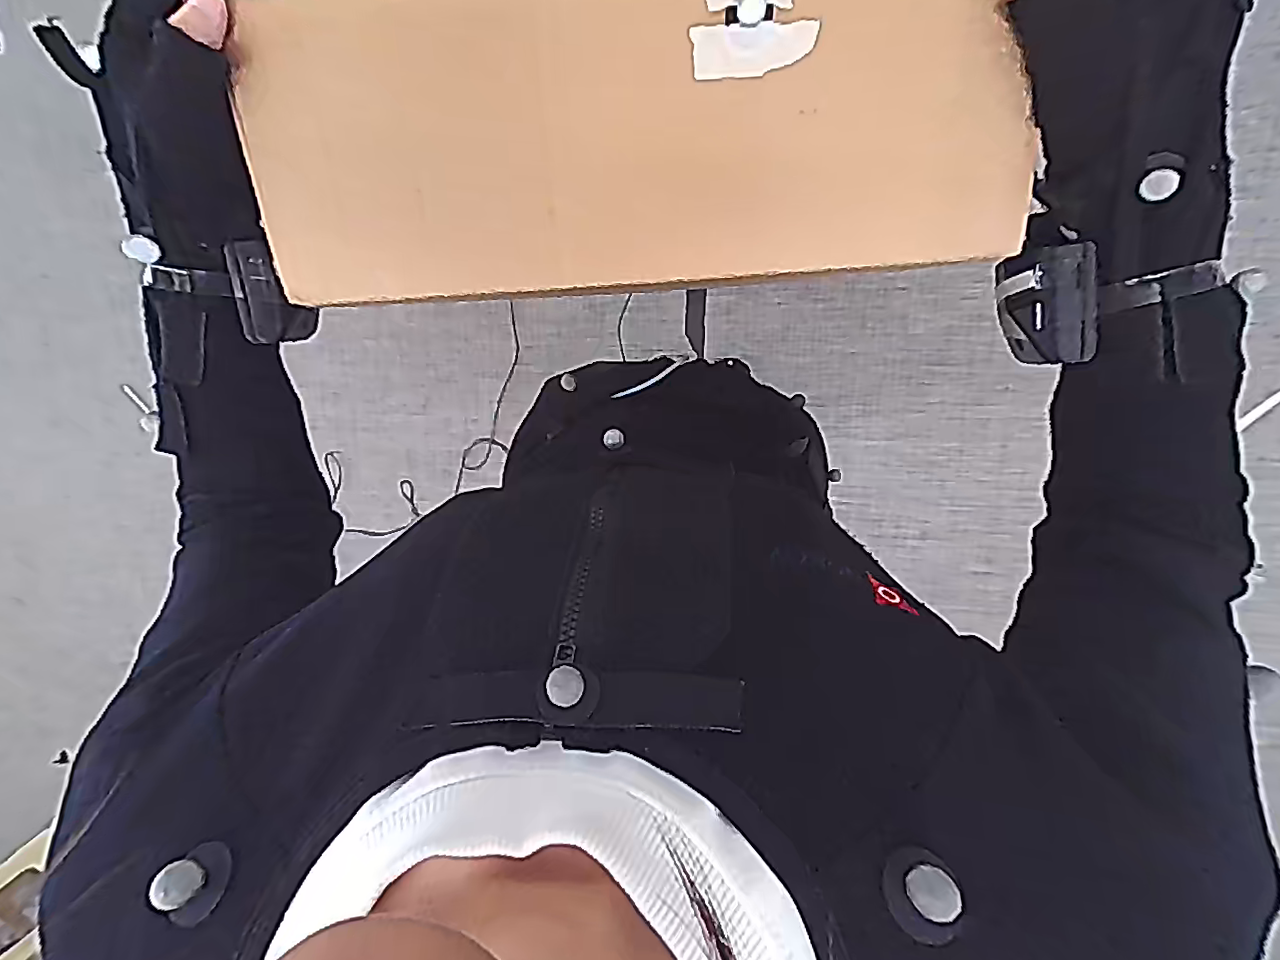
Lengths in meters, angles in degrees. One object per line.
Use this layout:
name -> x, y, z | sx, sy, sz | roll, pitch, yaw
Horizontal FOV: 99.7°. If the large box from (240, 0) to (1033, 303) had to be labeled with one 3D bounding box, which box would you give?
large box -> -0.003, -0.312, 0.403 | 0.408, 0.320, 0.320 | -2, 109, 5
